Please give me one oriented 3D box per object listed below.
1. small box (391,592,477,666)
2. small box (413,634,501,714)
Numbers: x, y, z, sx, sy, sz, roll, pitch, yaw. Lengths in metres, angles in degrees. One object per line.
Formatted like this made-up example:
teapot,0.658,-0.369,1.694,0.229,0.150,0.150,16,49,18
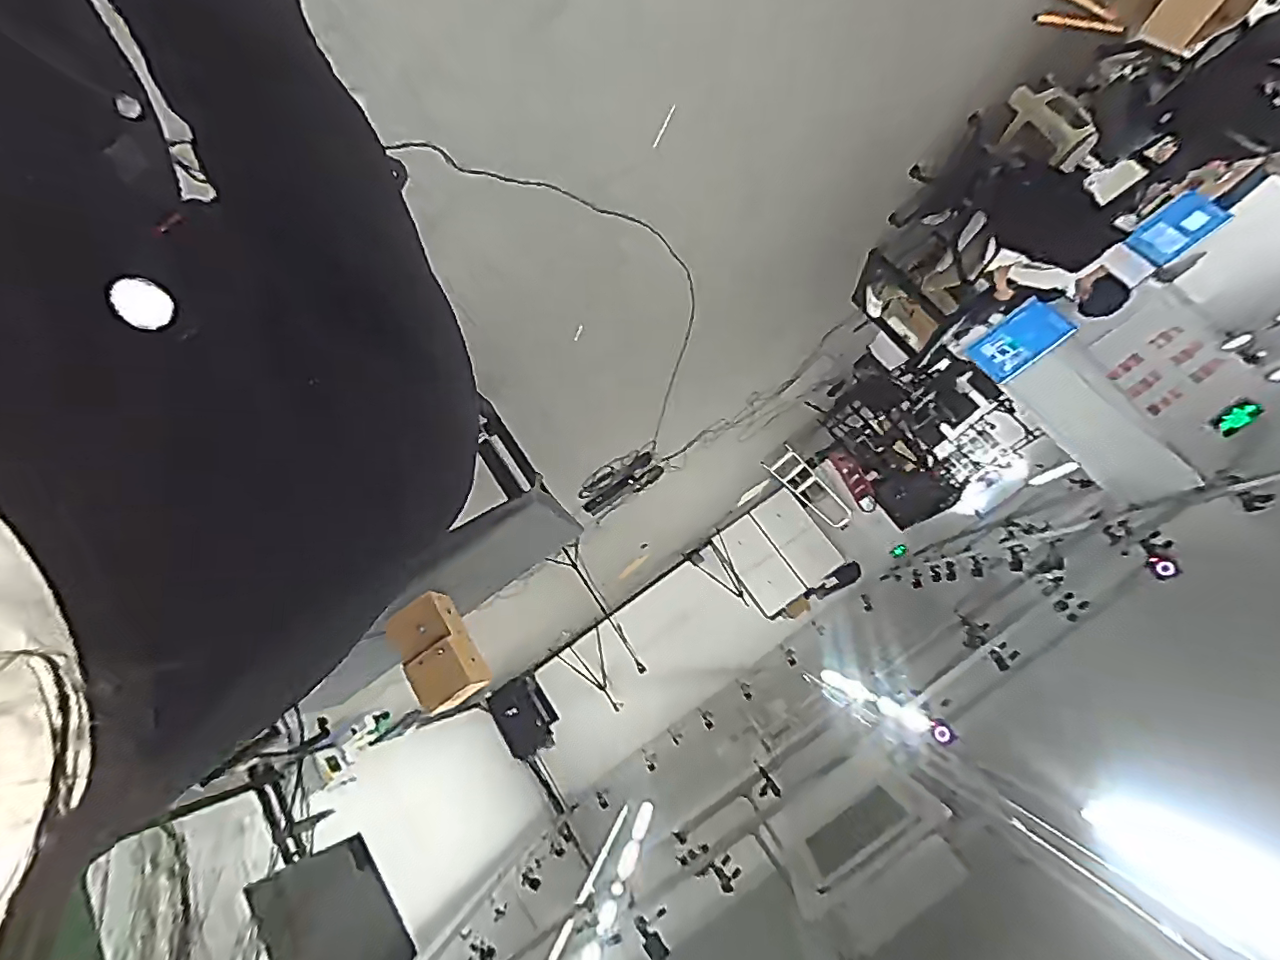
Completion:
small box,-0.677,0.483,1.775,0.179,0.176,0.168,-35,165,-4
small box,-0.582,0.607,1.715,0.168,0.176,0.179,-37,163,1
